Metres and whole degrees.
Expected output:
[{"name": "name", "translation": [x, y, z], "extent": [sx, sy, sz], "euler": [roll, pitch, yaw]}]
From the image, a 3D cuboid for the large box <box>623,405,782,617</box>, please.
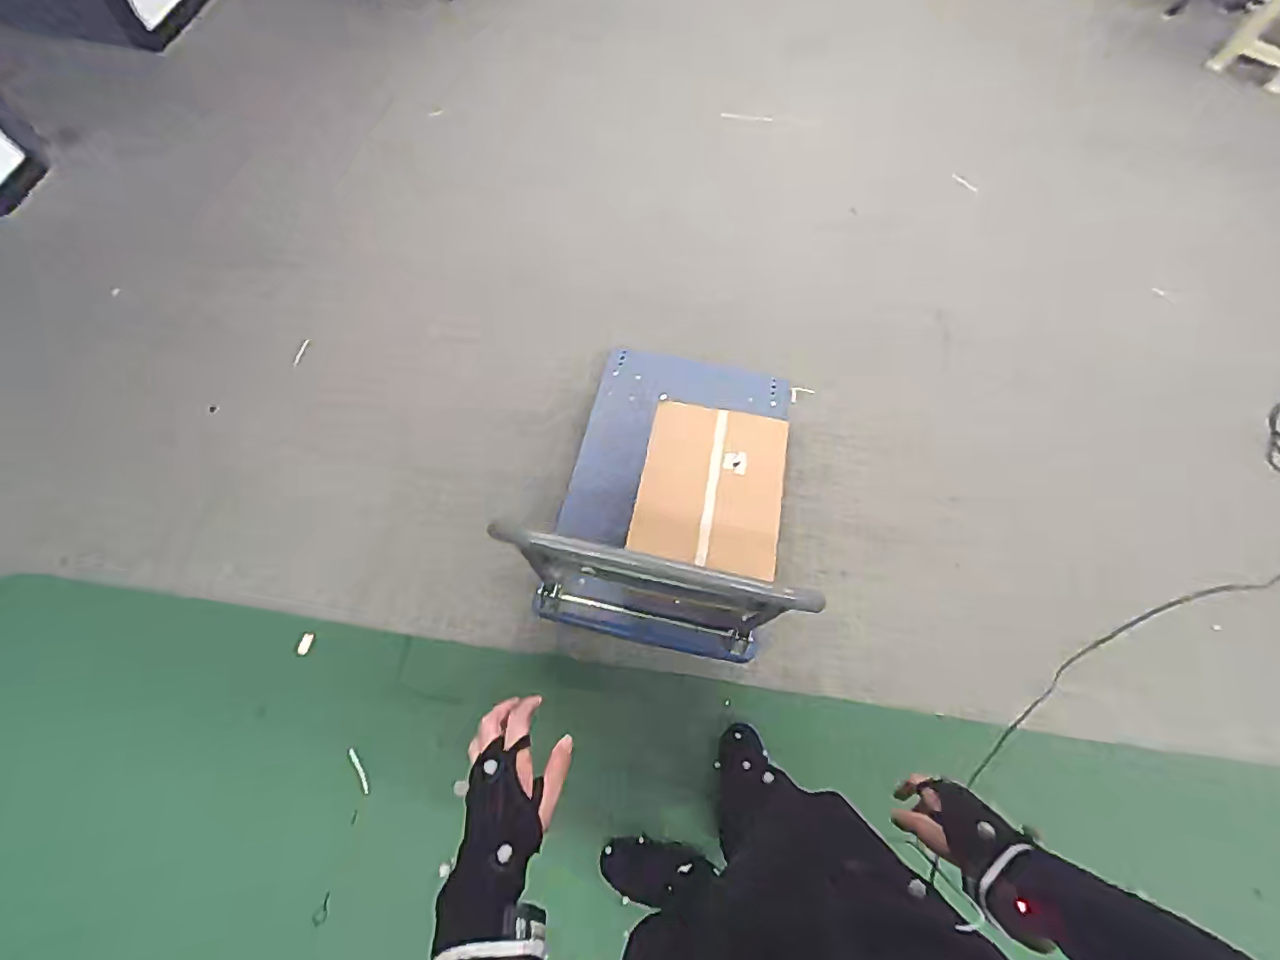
[{"name": "large box", "translation": [0.146, 0.085, 1.322], "extent": [0.320, 0.320, 0.408], "euler": [11, 64, 3]}]
